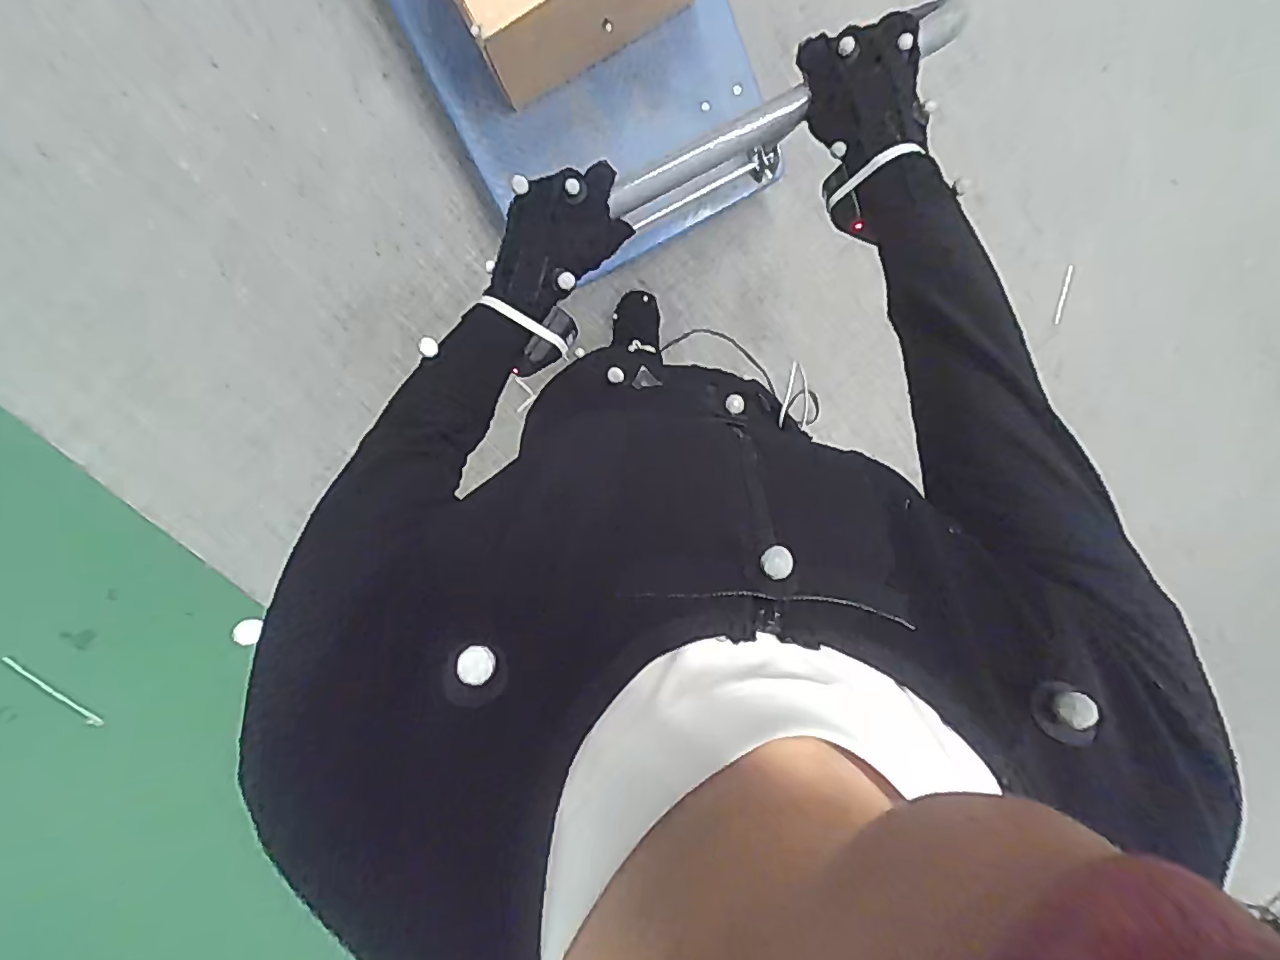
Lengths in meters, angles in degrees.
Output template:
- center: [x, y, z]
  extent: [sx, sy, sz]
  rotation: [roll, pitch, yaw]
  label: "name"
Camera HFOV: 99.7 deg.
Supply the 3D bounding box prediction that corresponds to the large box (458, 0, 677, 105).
- center: [-0.133, -0.906, 0.859]
  extent: [0.408, 0.320, 0.320]
  rotation: [-29, 107, 6]
  label: "large box"
